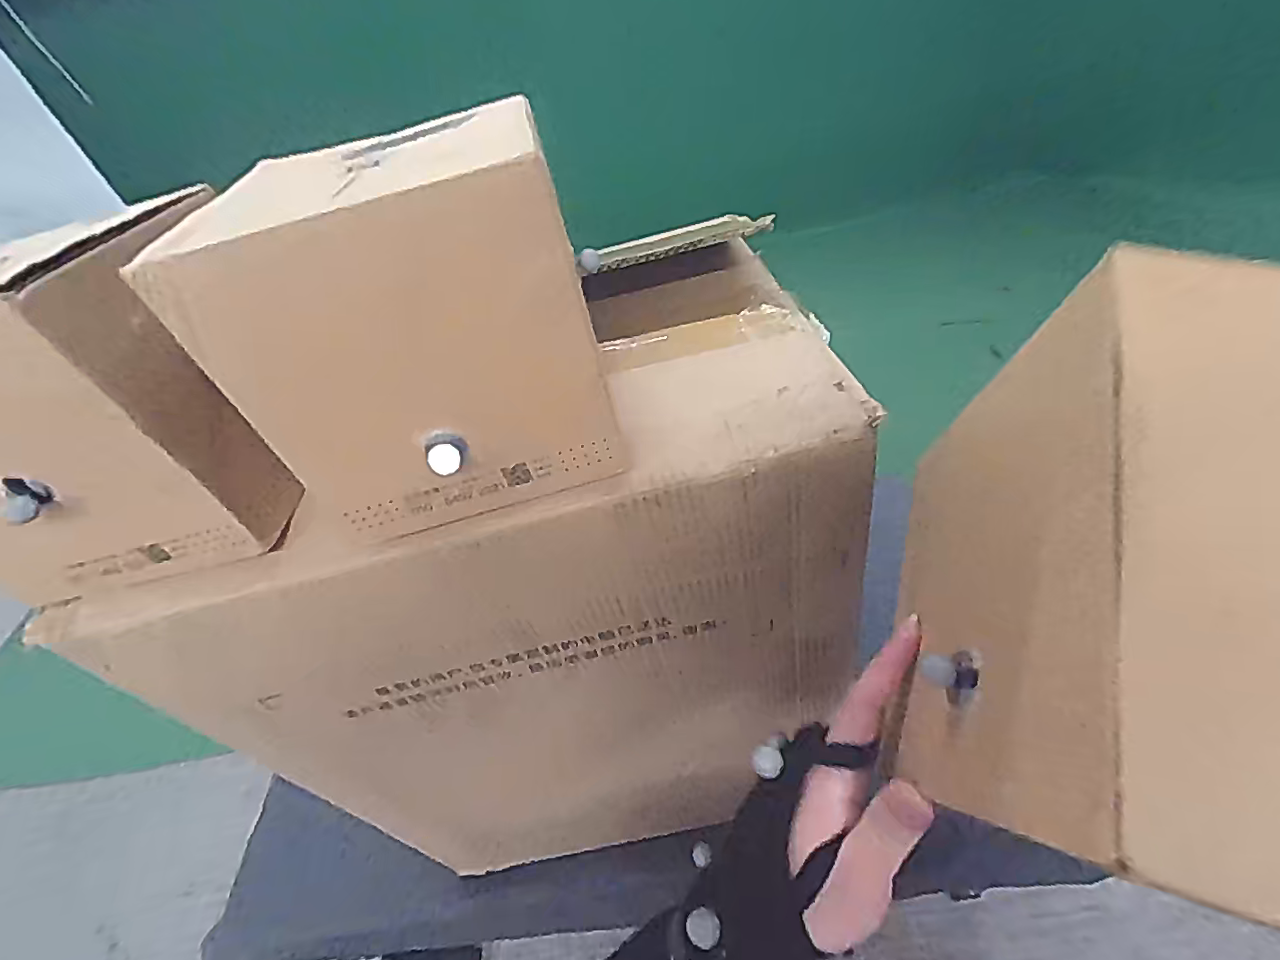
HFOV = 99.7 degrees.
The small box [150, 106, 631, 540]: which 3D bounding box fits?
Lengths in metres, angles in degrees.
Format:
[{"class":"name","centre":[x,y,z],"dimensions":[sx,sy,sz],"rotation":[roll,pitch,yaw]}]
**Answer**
[{"class":"small box","centre":[-0.111,-0.095,0.322],"dimensions":[0.168,0.176,0.179],"rotation":[-16,43,0]}]

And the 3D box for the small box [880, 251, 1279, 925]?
[{"class":"small box","centre":[0.207,0.053,0.204],"dimensions":[0.168,0.176,0.179],"rotation":[14,69,9]}]

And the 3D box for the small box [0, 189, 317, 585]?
[{"class":"small box","centre":[-0.321,-0.052,0.343],"dimensions":[0.168,0.176,0.179],"rotation":[-13,42,4]}]
